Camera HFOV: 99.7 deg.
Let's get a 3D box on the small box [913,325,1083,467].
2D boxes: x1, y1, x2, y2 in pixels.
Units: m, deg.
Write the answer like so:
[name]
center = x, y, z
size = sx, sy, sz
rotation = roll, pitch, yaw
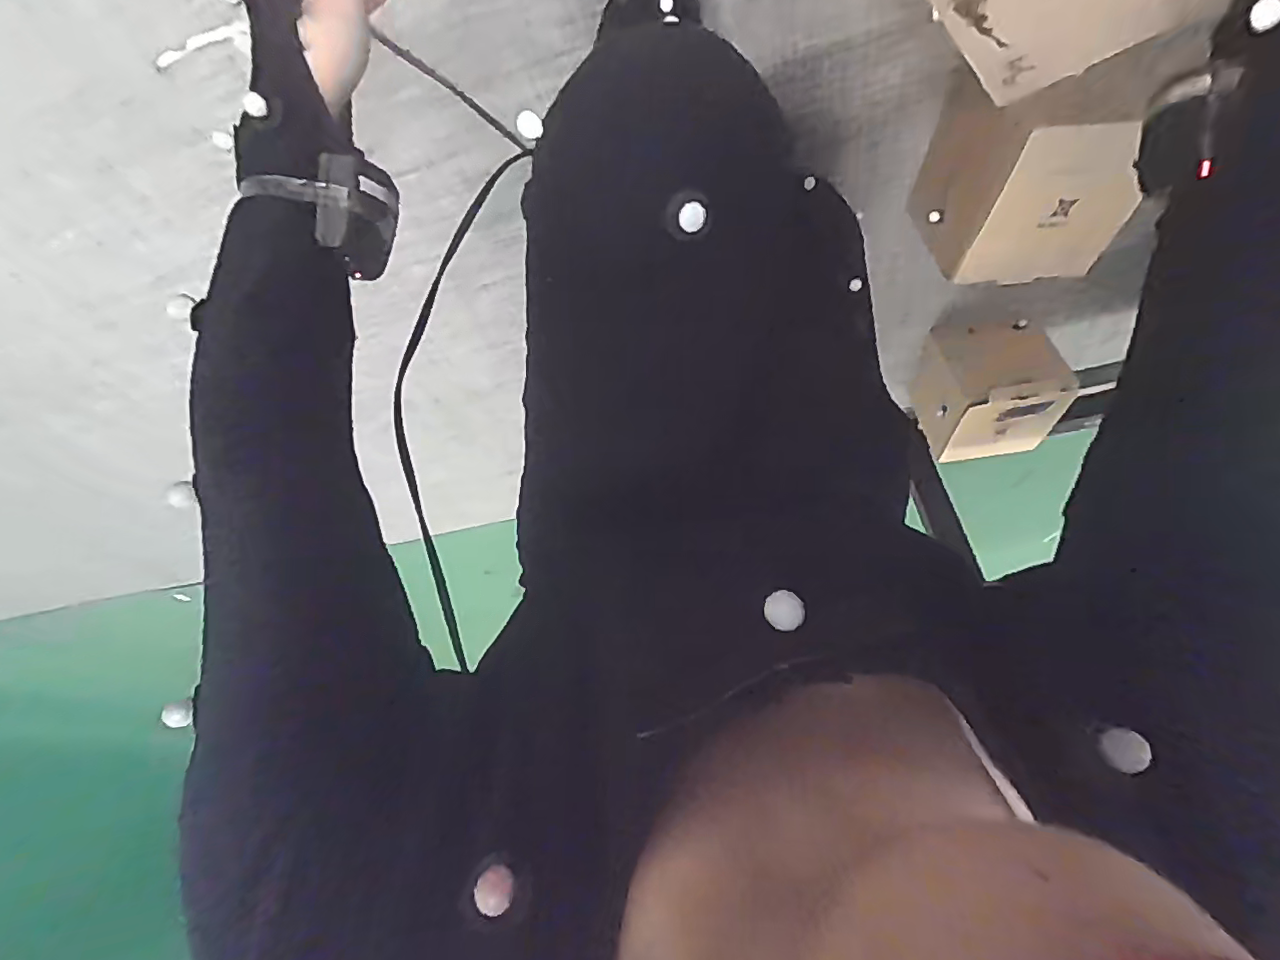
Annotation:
[small box]
center = 0.596, -0.148, 0.932
size = 0.168, 0.176, 0.179
rotation = -8, 147, 7
